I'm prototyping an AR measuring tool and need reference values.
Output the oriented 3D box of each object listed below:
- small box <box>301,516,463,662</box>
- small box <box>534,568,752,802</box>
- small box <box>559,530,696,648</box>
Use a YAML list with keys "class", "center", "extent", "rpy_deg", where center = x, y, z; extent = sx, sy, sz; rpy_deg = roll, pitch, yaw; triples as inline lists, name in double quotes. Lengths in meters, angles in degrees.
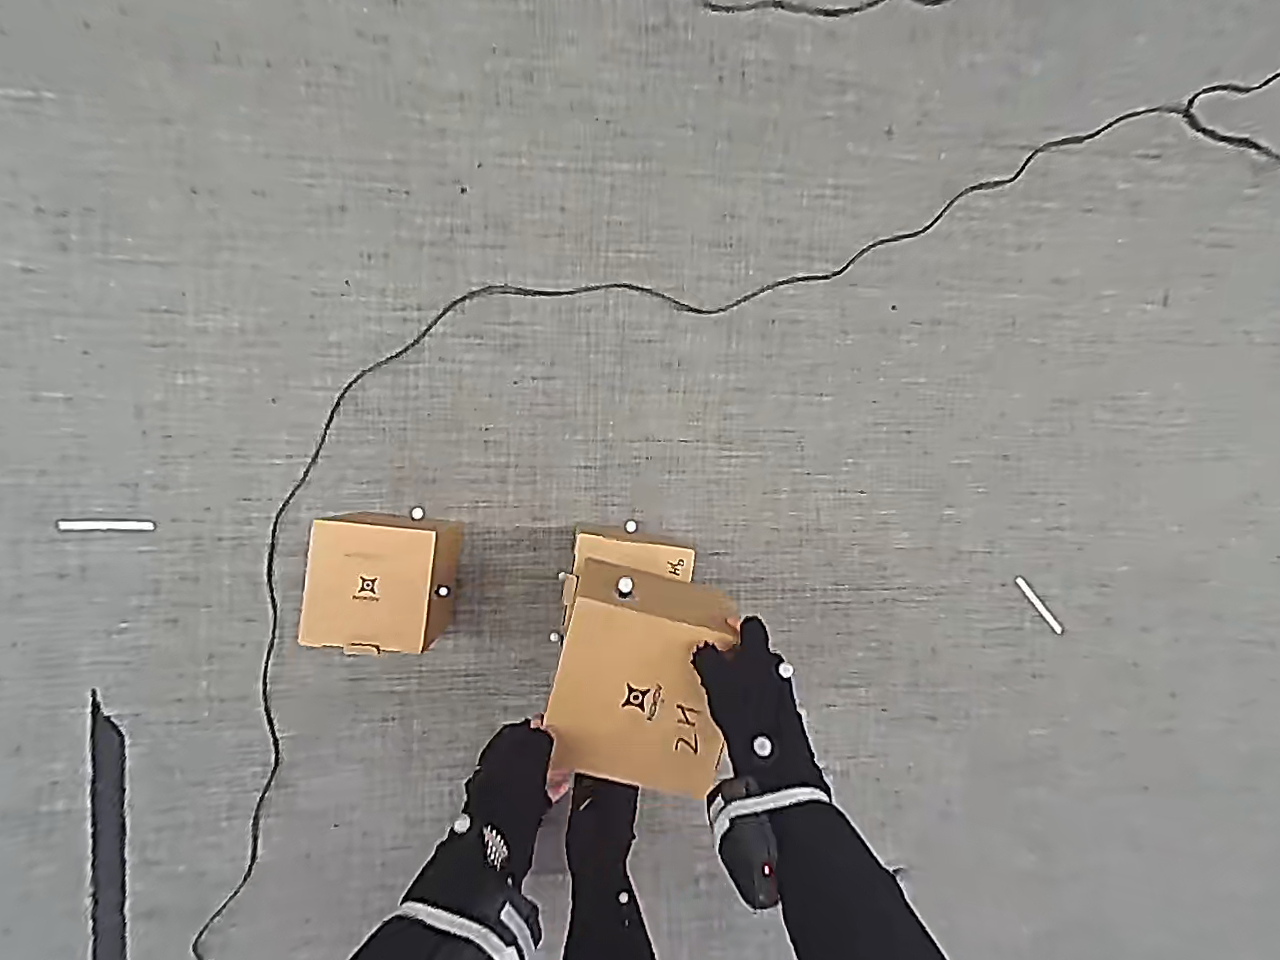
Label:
- class: "small box"
  center: [-0.376, 0.155, 0.818]
  extent: [0.168, 0.176, 0.179]
  rpy_deg: [7, 89, -6]
- class: "small box"
  center: [-0.001, 0.206, 0.593]
  extent: [0.179, 0.176, 0.168]
  rpy_deg: [15, 94, -4]
- class: "small box"
  center: [-0.024, 0.175, 0.851]
  extent: [0.179, 0.176, 0.168]
  rpy_deg: [10, 90, -5]
